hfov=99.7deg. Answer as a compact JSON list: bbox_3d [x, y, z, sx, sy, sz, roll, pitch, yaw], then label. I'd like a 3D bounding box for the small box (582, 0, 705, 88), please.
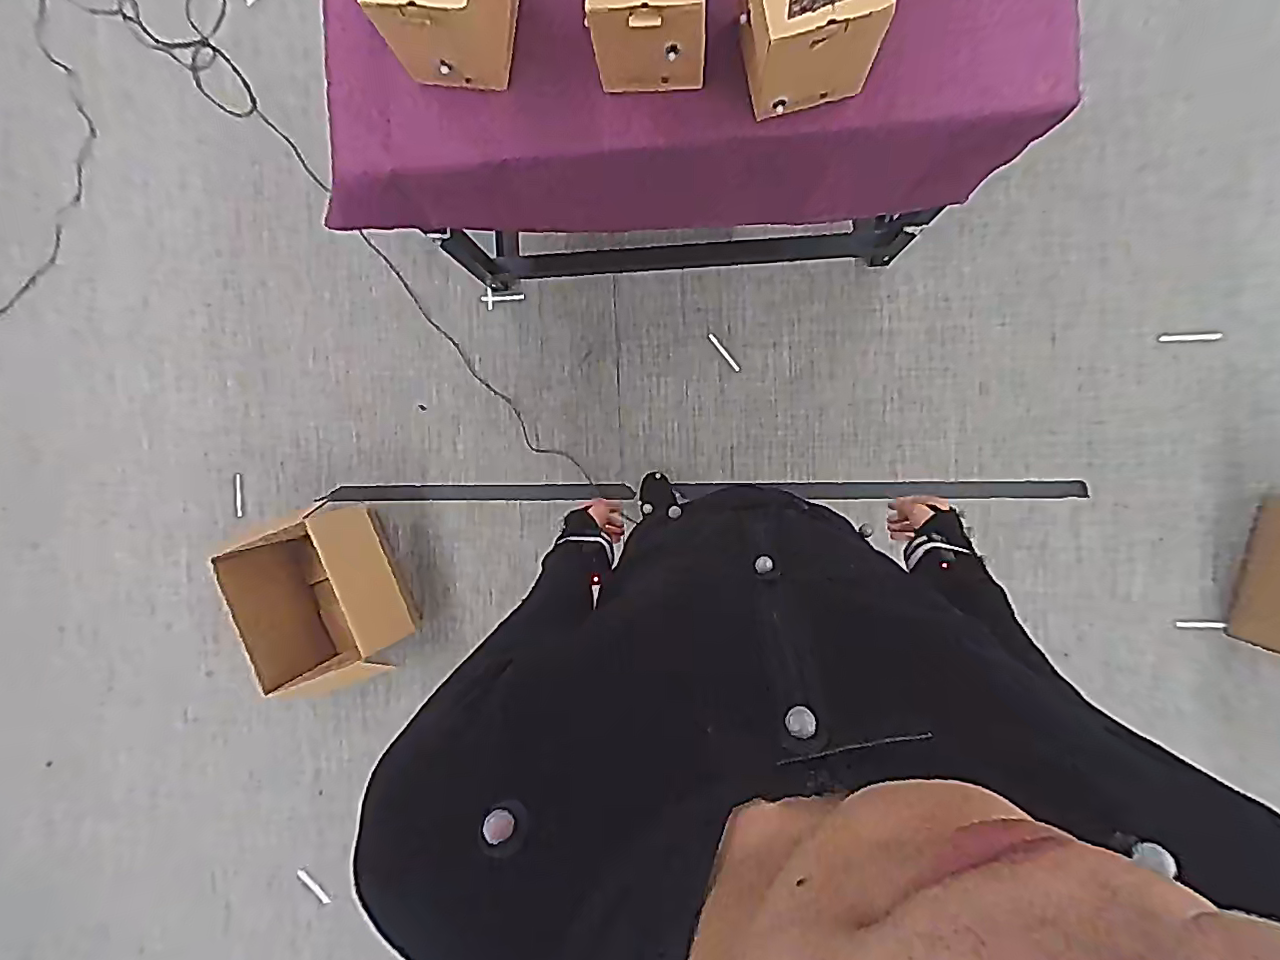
[{"bbox_3d":[0.013,-0.722,0.805,0.168,0.176,0.179,2,91,5],"label":"small box"}]

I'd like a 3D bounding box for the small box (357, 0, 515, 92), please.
[{"bbox_3d":[-0.302,-0.747,0.831,0.168,0.176,0.179,8,93,5],"label":"small box"}]

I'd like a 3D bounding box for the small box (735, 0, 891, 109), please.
[{"bbox_3d":[0.238,-0.679,0.783,0.168,0.176,0.179,-12,89,6],"label":"small box"}]
